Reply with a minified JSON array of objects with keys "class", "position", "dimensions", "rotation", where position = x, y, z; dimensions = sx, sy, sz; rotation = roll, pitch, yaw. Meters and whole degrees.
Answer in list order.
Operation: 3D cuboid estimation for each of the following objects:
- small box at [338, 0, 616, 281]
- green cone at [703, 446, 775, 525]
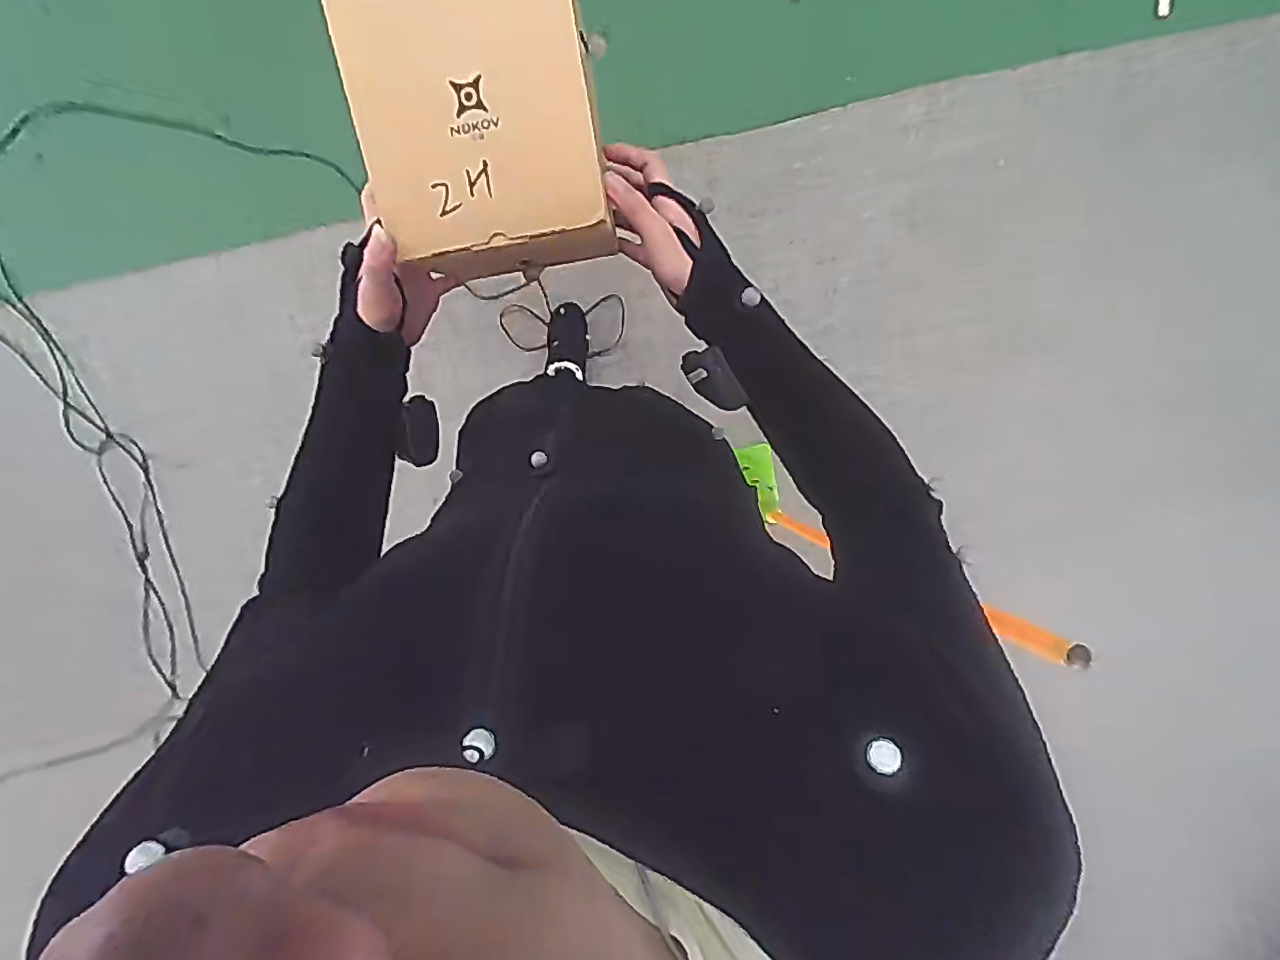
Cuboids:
[{"class":"small box","position":[-0.115,-0.279,0.463],"dimensions":[0.168,0.176,0.179],"rotation":[-7,106,3]},{"class":"green cone","position":[0.309,0.044,1.496],"dimensions":[0.202,0.368,0.200],"rotation":[-12,103,2]}]
